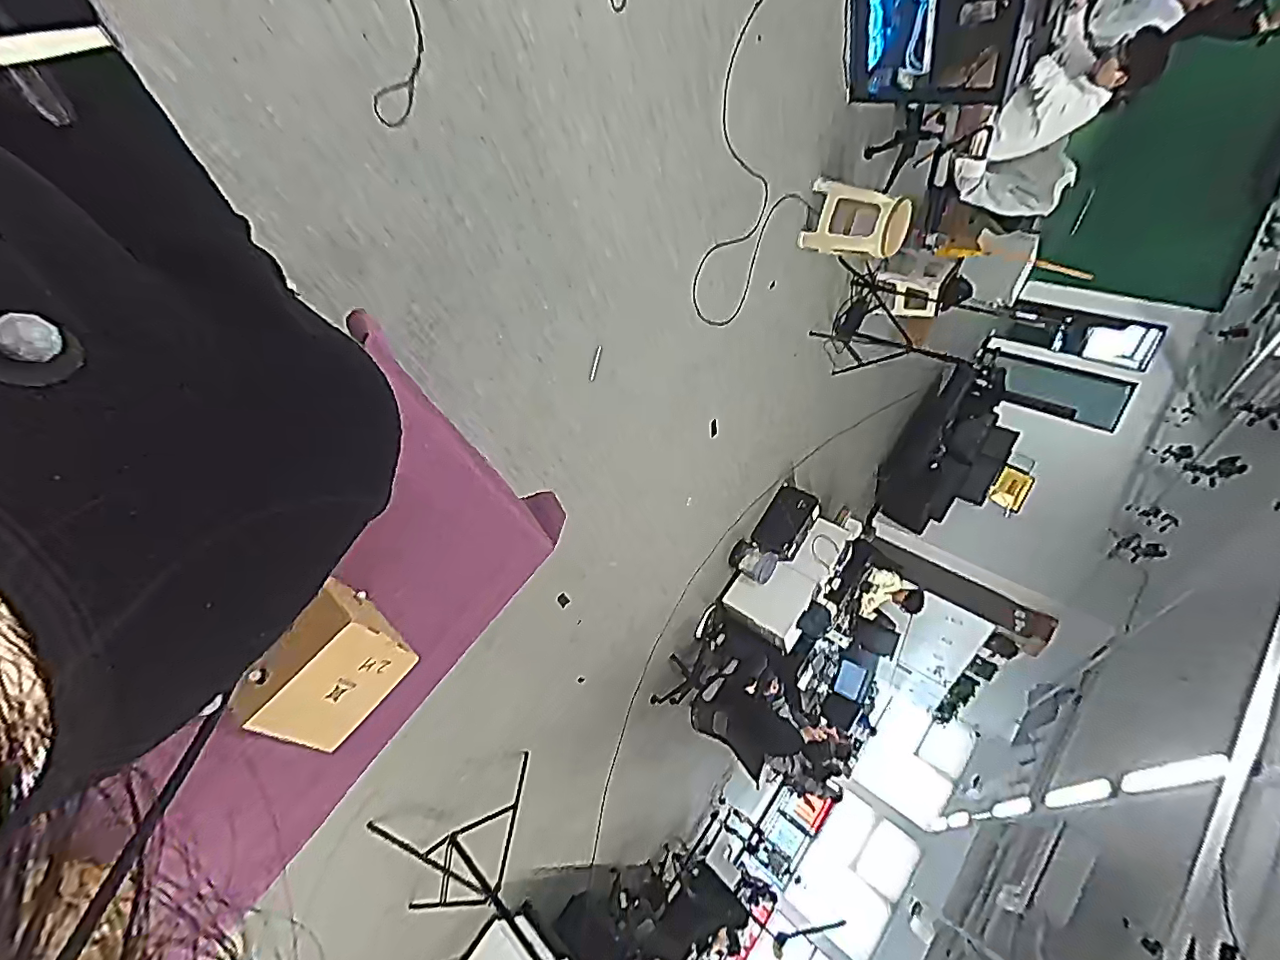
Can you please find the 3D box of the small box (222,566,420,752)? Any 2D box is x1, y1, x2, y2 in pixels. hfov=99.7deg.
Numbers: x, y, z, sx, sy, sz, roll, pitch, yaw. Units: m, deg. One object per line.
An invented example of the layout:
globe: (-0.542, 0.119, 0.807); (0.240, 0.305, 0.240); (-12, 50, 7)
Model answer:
small box: (-0.479, 0.264, 0.811); (0.179, 0.176, 0.168); (-49, 146, -20)

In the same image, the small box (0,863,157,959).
small box: (-0.770, 0.617, 0.672); (0.168, 0.176, 0.179); (-49, 145, -20)
